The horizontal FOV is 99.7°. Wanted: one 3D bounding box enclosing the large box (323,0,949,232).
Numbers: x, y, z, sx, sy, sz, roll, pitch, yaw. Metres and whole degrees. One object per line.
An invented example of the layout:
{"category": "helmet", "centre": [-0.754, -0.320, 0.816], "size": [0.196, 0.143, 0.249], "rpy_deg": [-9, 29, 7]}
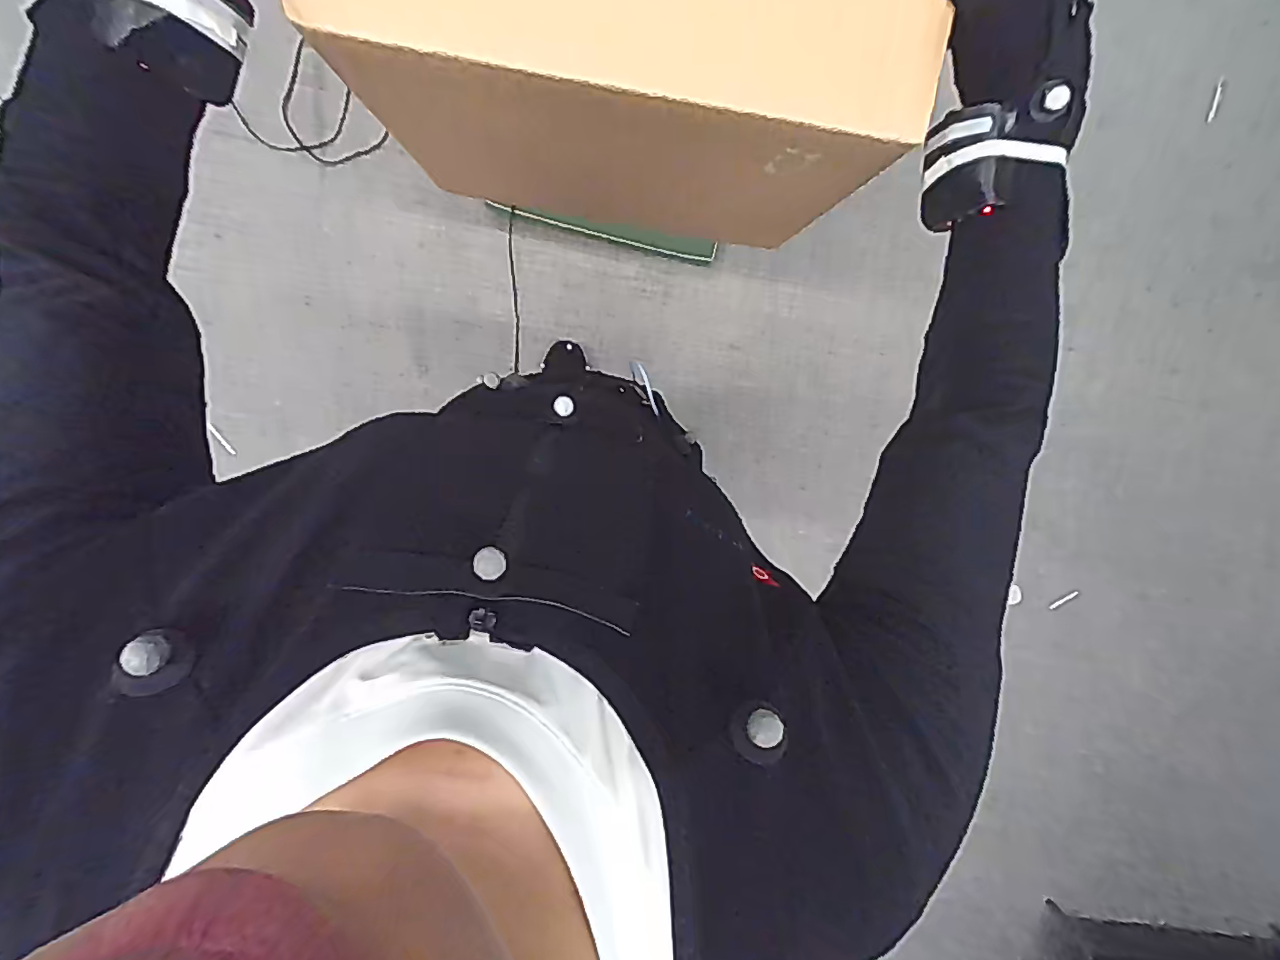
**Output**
{"category": "large box", "centre": [0.005, -0.439, 0.468], "size": [0.408, 0.320, 0.320], "rpy_deg": [7, 102, -6]}
